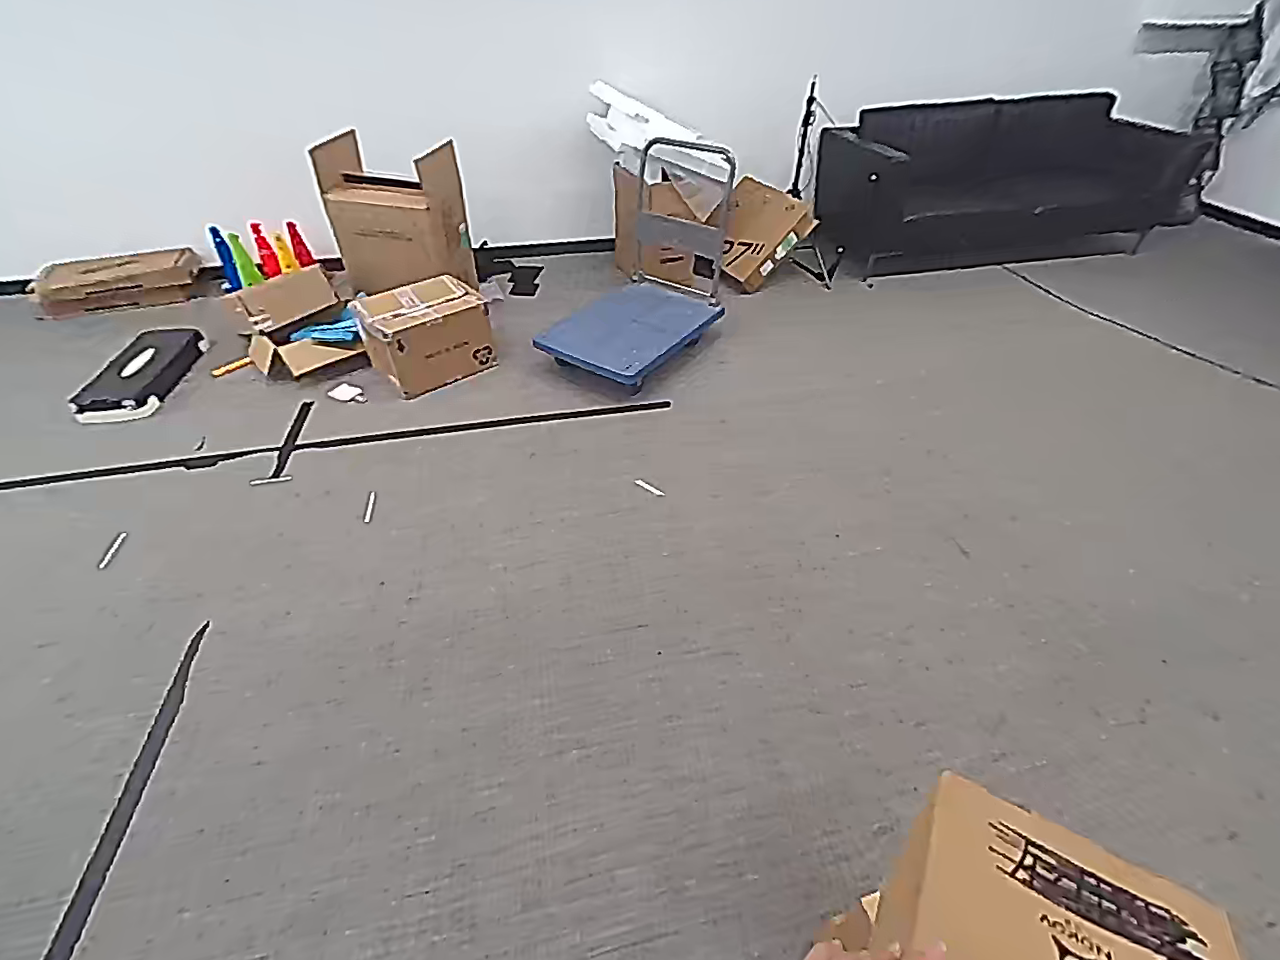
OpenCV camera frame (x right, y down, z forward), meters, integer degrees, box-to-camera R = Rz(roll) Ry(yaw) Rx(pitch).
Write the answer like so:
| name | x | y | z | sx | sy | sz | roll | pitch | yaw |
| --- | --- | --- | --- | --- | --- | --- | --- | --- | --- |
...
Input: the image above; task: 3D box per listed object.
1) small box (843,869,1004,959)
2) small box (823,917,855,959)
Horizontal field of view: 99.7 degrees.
| name | x | y | z | sx | sy | sz | roll | pitch | yaw |
| --- | --- | --- | --- | --- | --- | --- | --- | --- | --- |
| small box | 0.457 | 0.773 | 0.870 | 0.168 | 0.176 | 0.179 | -11 | 44 | -13 |
| small box | 0.449 | 0.897 | 0.976 | 0.179 | 0.176 | 0.168 | -6 | 43 | -8 |
